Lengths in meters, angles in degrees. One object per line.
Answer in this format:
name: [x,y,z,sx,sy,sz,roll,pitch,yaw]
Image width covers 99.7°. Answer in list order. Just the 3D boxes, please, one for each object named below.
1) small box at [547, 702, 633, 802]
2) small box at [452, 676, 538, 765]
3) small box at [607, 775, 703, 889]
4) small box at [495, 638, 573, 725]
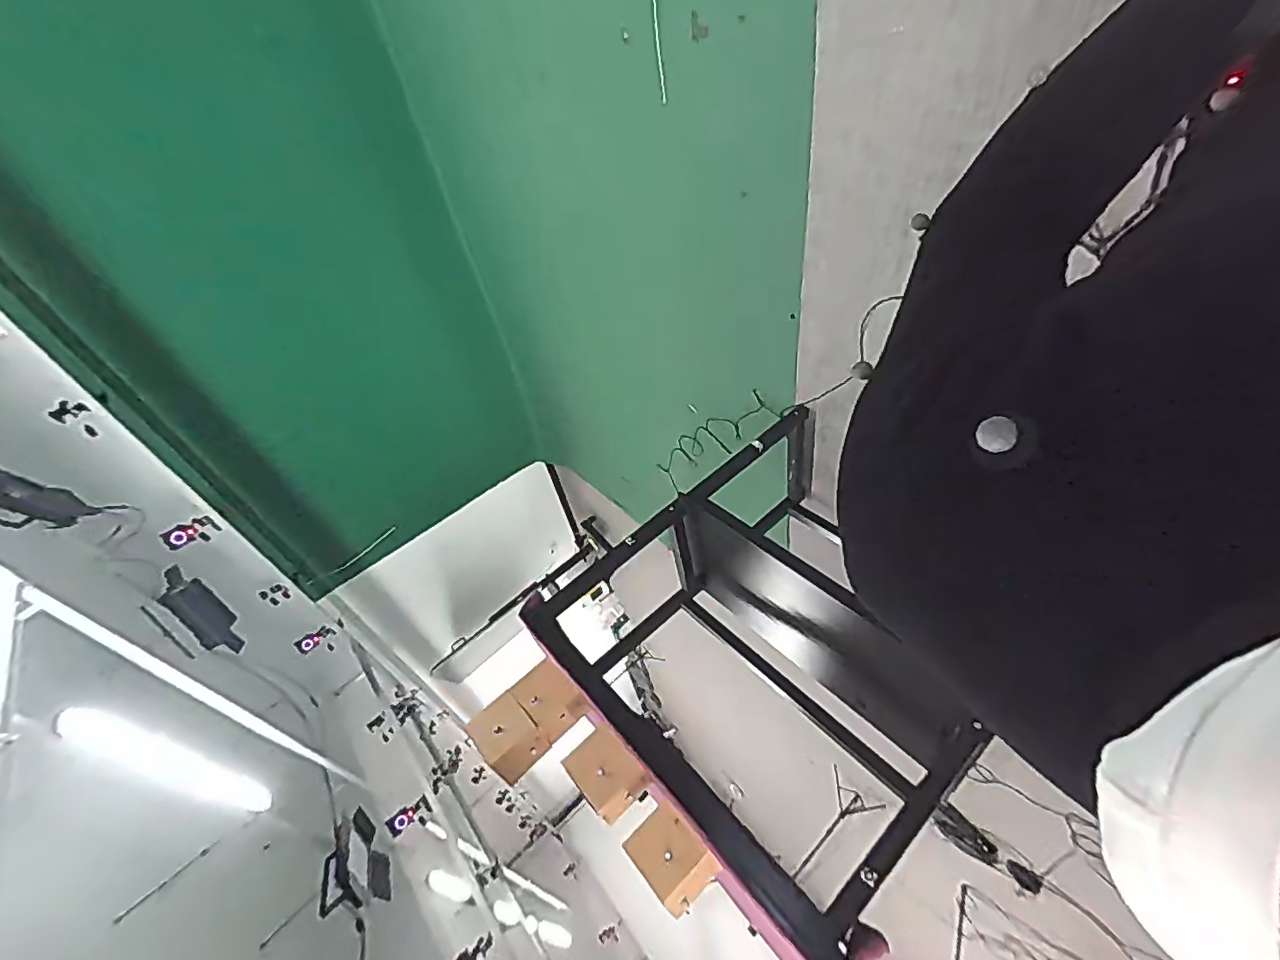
small box: [-0.136,0.792,1.581,0.179,0.176,0.168,35,153,35]
small box: [-0.455,0.752,1.711,0.179,0.176,0.168,31,150,38]
small box: [0.044,0.919,1.422,0.168,0.176,0.179,32,152,41]
small box: [-0.336,0.658,1.774,0.179,0.176,0.168,37,154,33]
